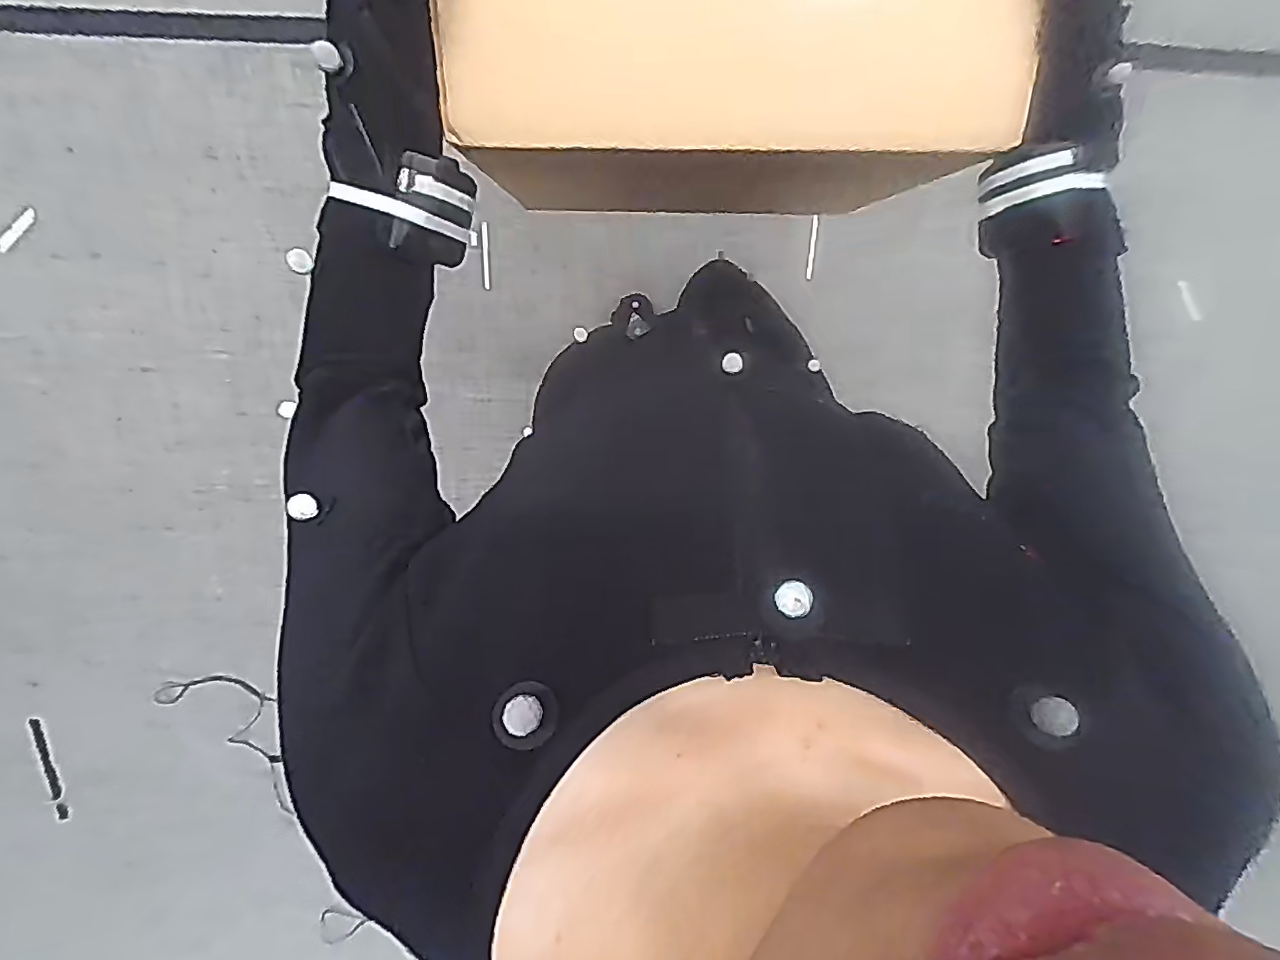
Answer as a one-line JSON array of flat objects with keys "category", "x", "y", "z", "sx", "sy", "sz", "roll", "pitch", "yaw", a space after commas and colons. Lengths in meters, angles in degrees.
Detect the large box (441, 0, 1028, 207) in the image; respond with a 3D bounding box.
[{"category": "large box", "x": 0.059, "y": -0.439, "z": 0.479, "sx": 0.408, "sy": 0.320, "sz": 0.320, "roll": 0, "pitch": 109, "yaw": -2}]
